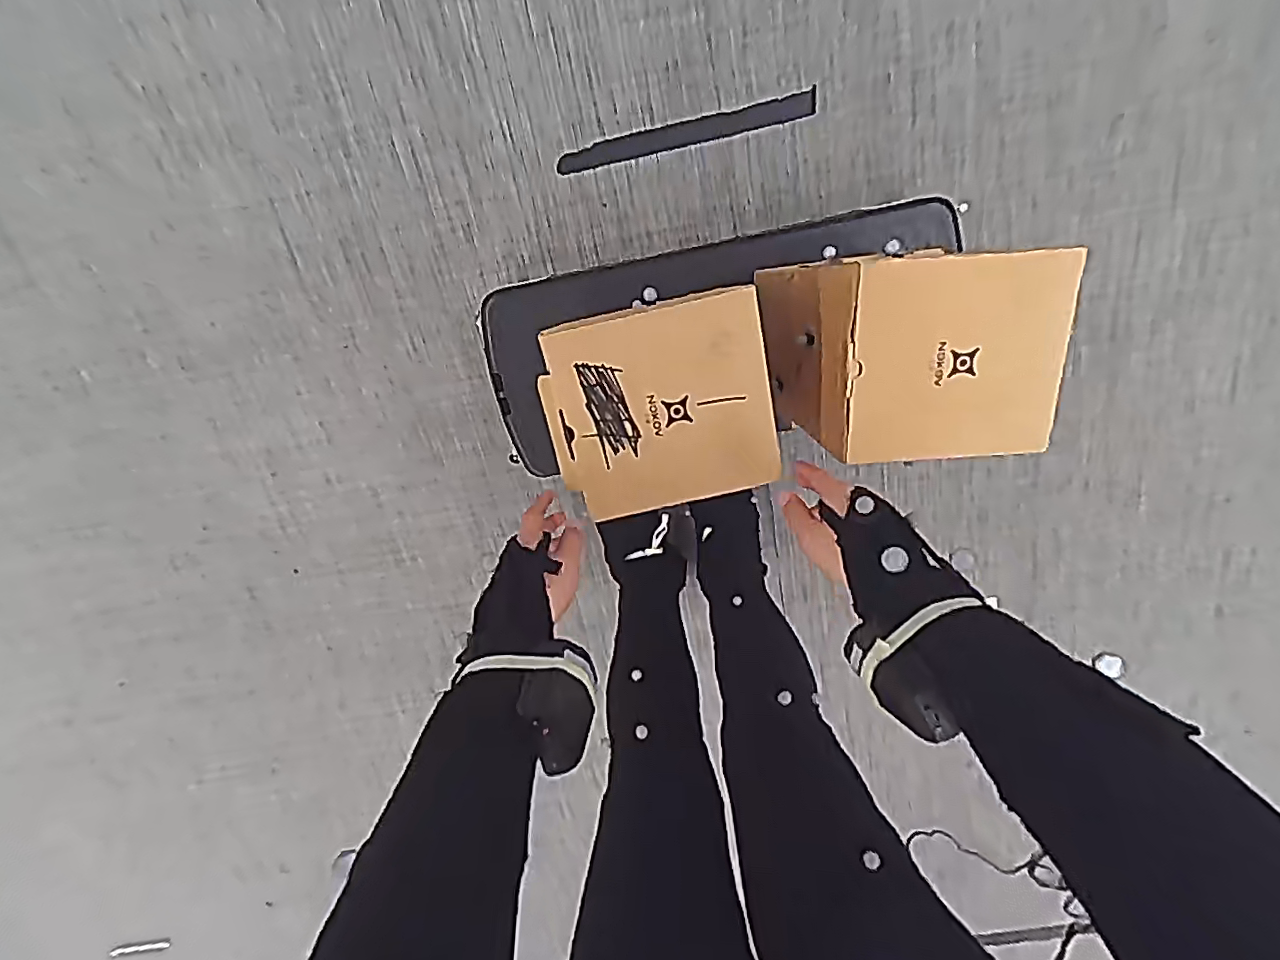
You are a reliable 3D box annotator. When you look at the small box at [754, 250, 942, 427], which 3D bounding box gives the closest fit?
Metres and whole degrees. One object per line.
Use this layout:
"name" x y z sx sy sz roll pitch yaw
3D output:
"small box" 0.240 -0.177 0.664 0.168 0.176 0.179 -7 110 2
